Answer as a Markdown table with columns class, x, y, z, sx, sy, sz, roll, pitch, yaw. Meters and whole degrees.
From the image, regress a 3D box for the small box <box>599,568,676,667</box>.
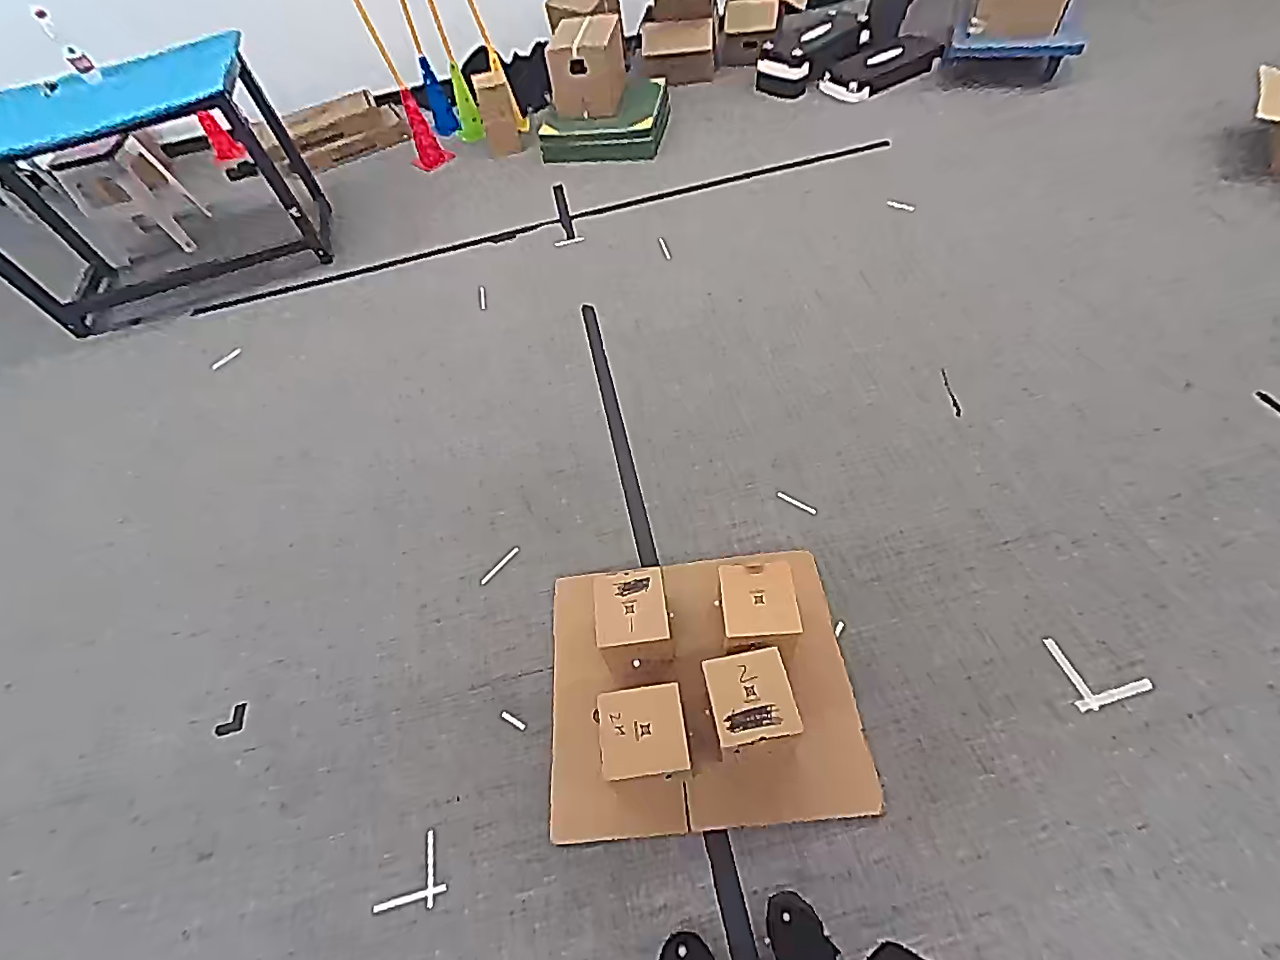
| class | x | y | z | sx | sy | sz | roll | pitch | yaw |
| --- | --- | --- | --- | --- | --- | --- | --- | --- | --- |
| small box | -0.005 | 0.337 | 1.313 | 0.168 | 0.176 | 0.179 | -8 | 55 | 2 |
